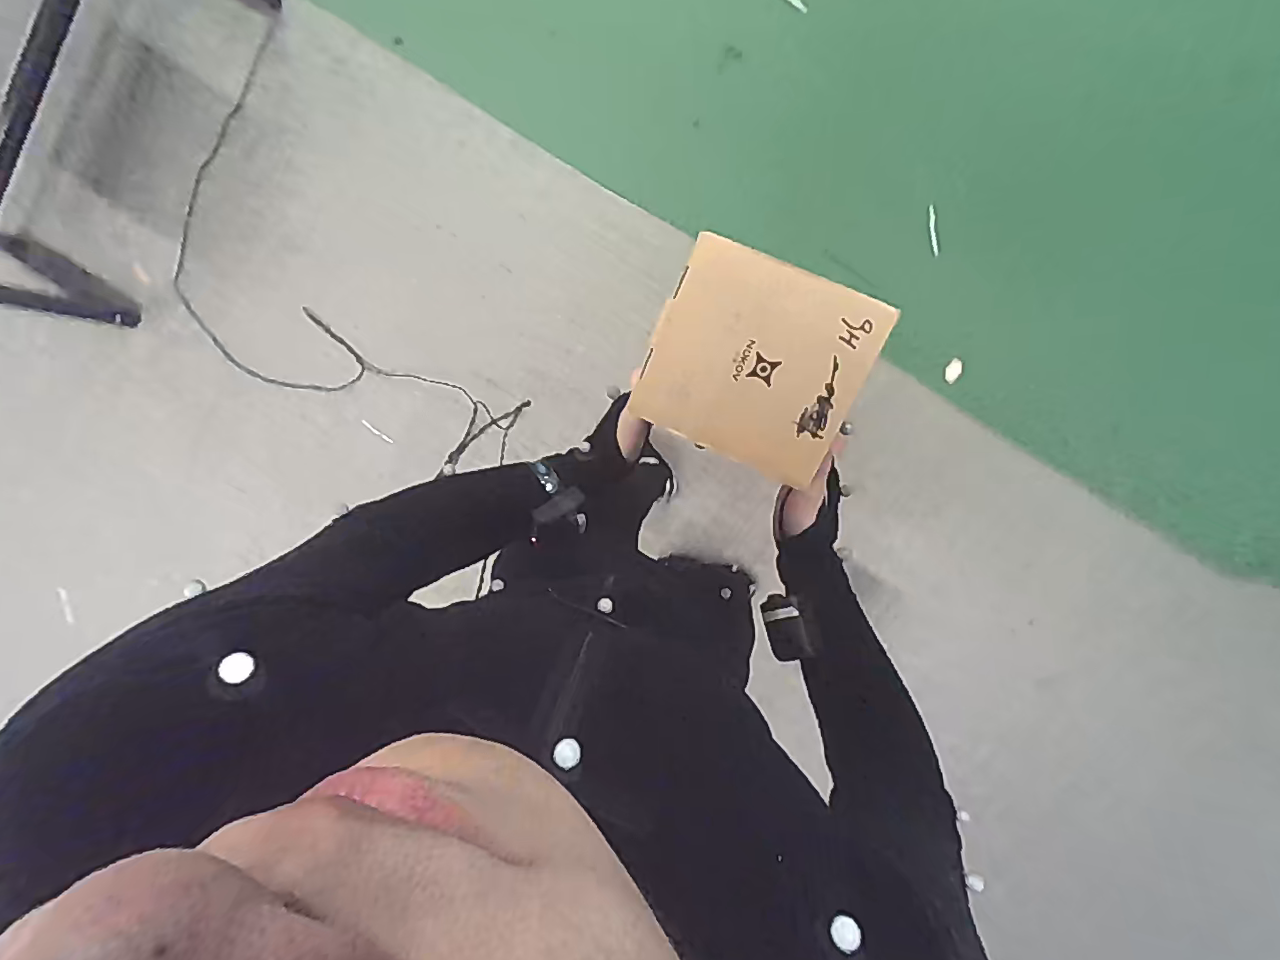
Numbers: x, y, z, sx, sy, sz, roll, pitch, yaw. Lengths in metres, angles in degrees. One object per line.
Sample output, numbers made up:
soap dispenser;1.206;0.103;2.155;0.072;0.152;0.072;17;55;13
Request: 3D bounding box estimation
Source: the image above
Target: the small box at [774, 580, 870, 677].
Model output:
small box;0.484;0.392;1.471;0.179;0.176;0.168;35;99;4
